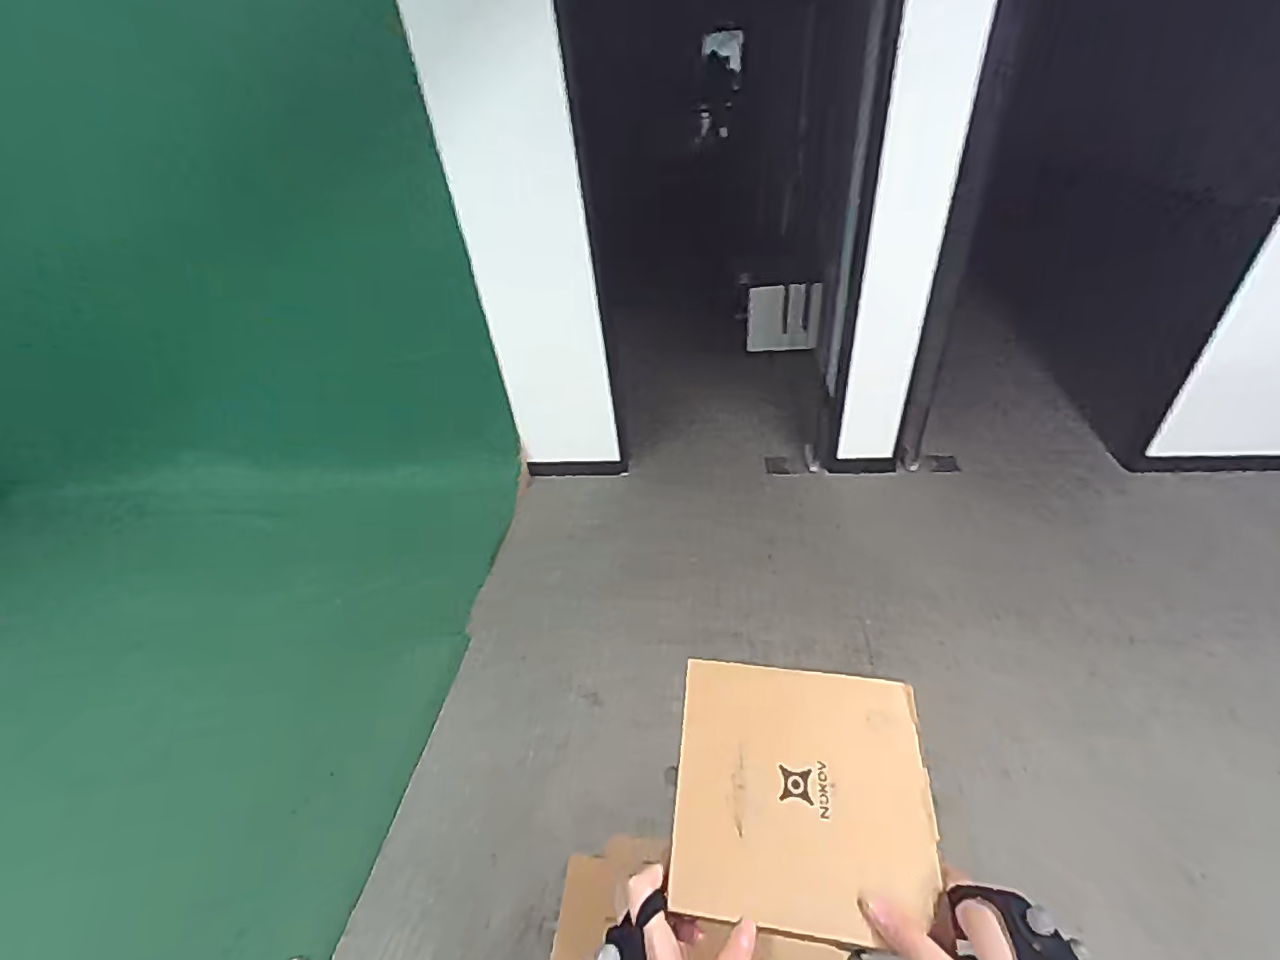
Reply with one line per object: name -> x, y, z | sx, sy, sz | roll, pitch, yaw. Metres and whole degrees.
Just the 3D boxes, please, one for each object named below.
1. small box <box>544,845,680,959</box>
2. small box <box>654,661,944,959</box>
small box -> -0.031, 0.663, 0.777 | 0.168, 0.176, 0.179 | 2, 39, 9
small box -> 0.112, 0.267, 0.439 | 0.179, 0.176, 0.168 | 4, 51, 9
